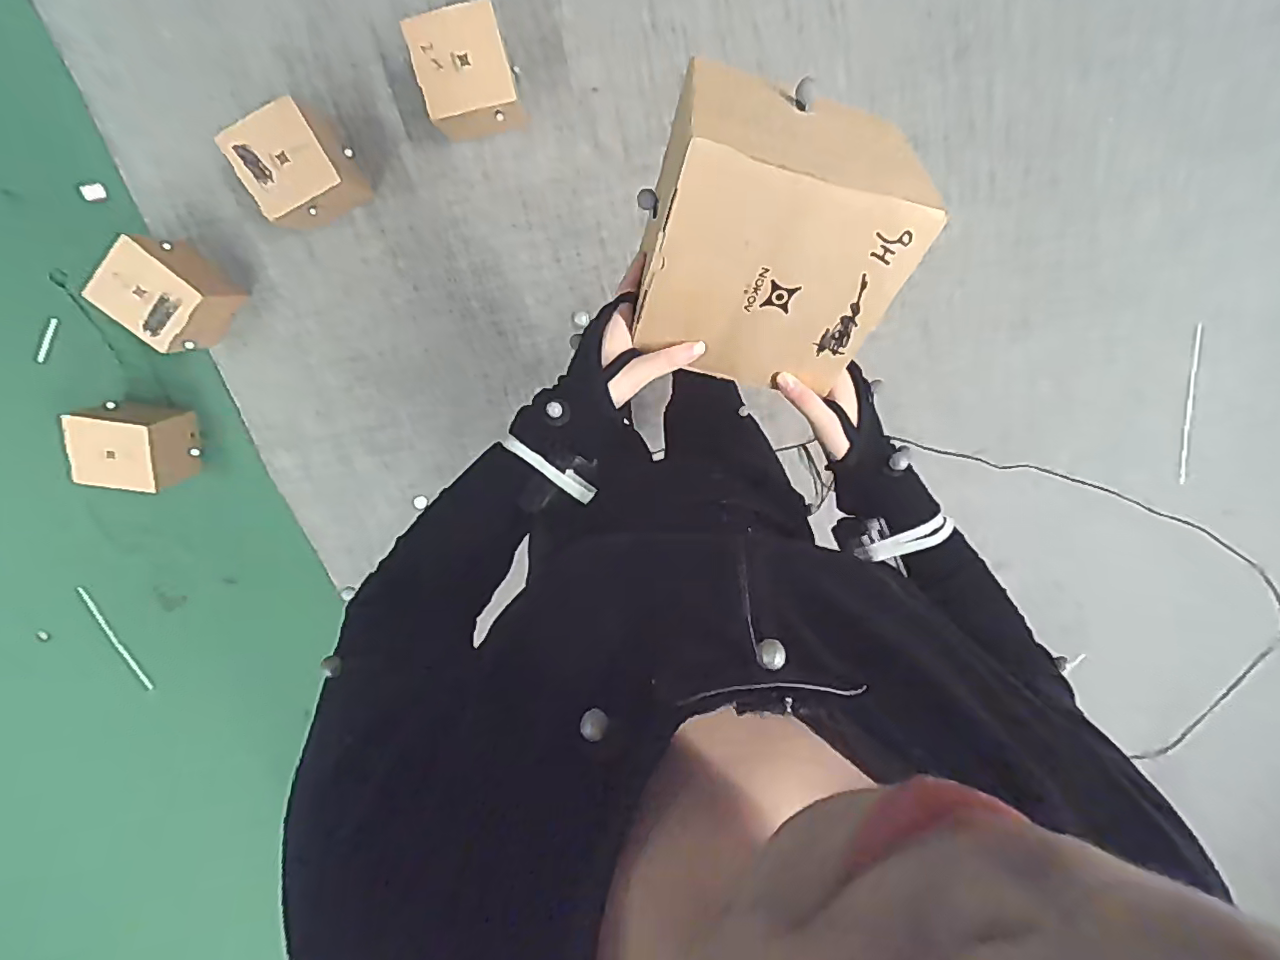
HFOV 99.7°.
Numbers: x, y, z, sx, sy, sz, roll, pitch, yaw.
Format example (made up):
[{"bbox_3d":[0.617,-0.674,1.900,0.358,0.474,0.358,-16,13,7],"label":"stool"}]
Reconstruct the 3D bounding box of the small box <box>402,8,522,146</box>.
[{"bbox_3d":[-0.347,-0.808,1.100,0.179,0.176,0.168,-14,109,0],"label":"small box"}]

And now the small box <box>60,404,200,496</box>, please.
[{"bbox_3d":[-1.203,-0.078,1.289,0.179,0.176,0.168,9,109,-8],"label":"small box"}]

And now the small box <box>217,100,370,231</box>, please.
[{"bbox_3d":[-0.708,-0.641,1.129,0.179,0.176,0.168,-26,110,4],"label":"small box"}]

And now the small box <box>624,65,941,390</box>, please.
[{"bbox_3d":[0.096,-0.206,0.443,0.179,0.176,0.168,12,139,-8],"label":"small box"}]
